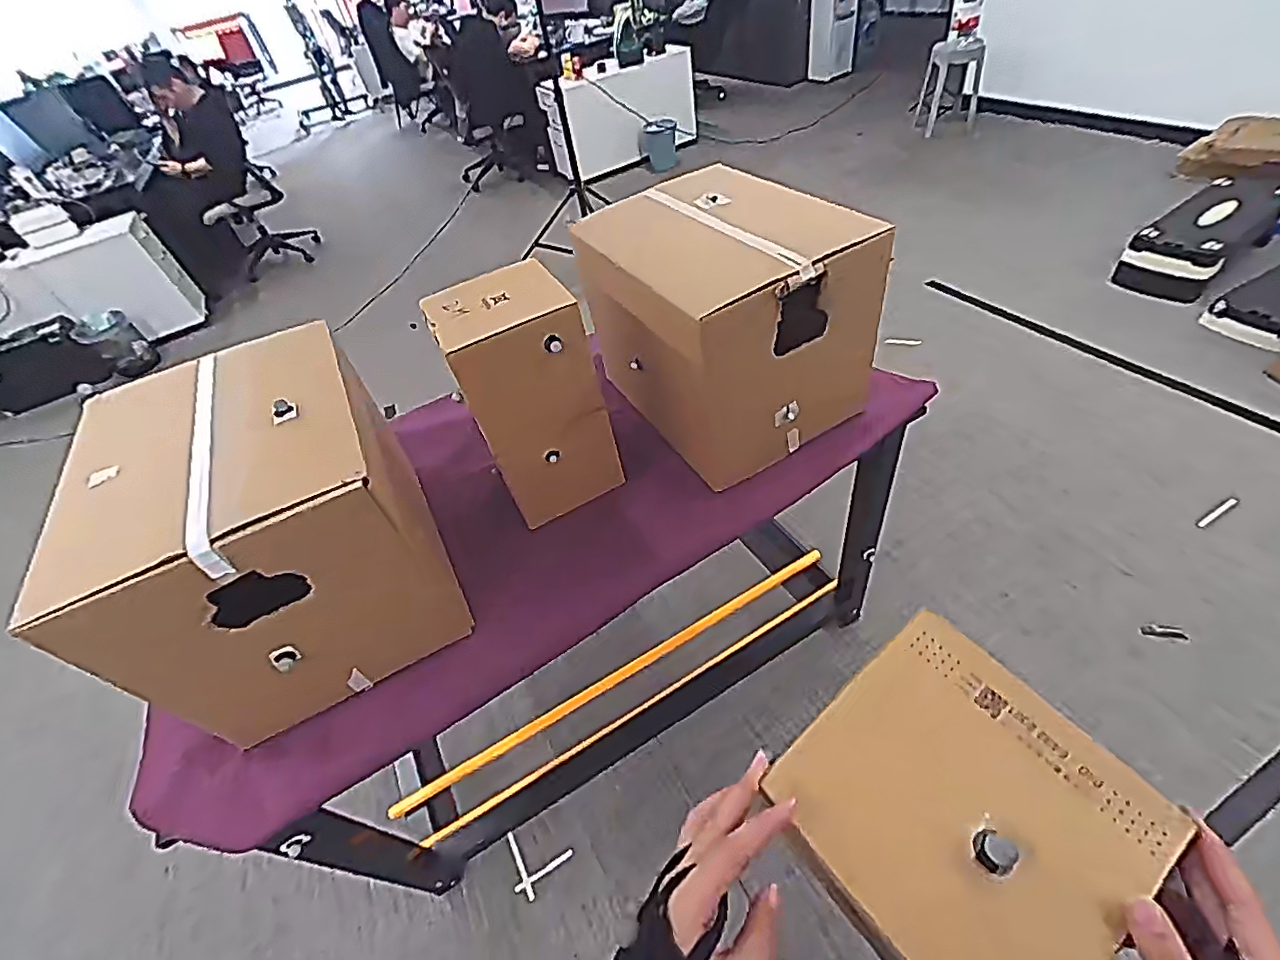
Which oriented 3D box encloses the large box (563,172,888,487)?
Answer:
[{"bbox_3d":[0.127,-0.263,0.899,0.320,0.320,0.408,-28,47,-14],"label":"large box"}]
